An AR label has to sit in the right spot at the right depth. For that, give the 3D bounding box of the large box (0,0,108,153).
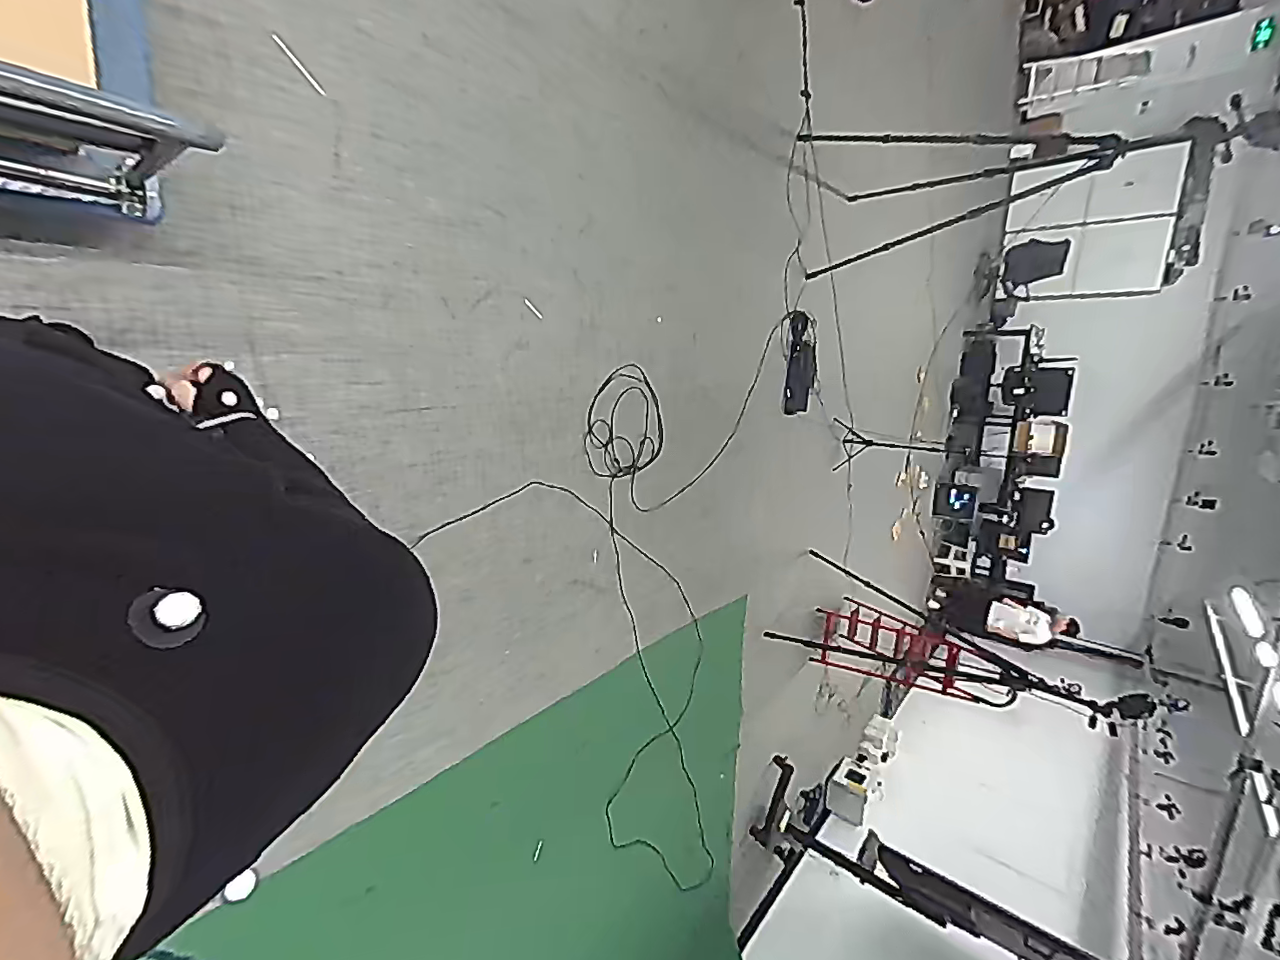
[{"bbox_3d":[-0.990,-0.746,0.743,0.320,0.320,0.408,-10,105,-48],"label":"large box"}]
